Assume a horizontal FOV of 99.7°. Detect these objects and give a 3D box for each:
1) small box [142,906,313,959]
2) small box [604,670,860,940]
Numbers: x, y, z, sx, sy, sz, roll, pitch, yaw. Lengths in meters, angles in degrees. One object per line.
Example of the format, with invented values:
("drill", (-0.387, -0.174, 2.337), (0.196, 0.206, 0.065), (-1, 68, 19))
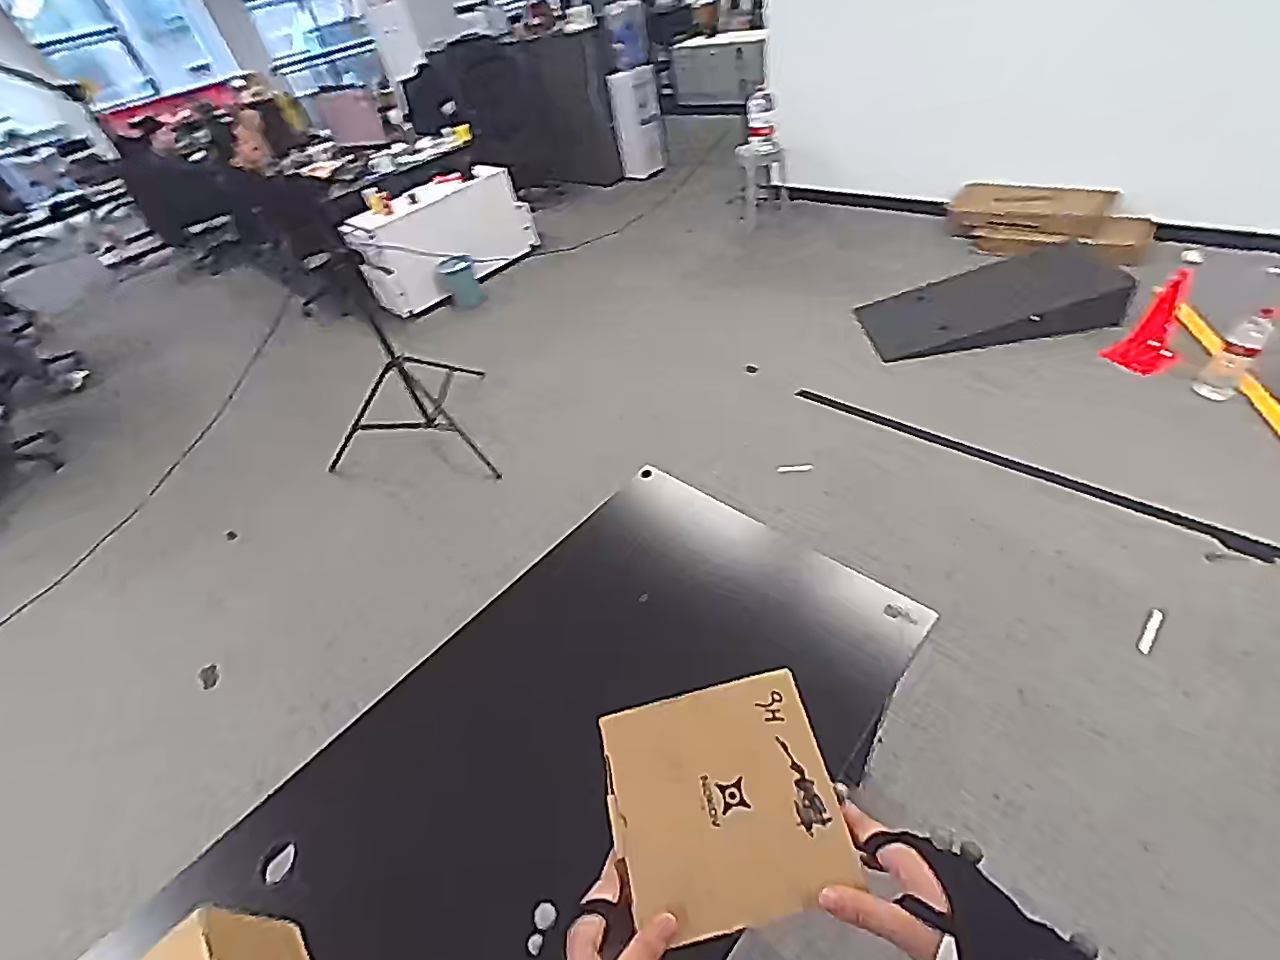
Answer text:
("small box", (-0.448, 0.588, 0.542), (0.168, 0.176, 0.179), (30, 58, 36))
("small box", (0.078, 0.299, 0.509), (0.179, 0.176, 0.168), (-15, 57, 0))
